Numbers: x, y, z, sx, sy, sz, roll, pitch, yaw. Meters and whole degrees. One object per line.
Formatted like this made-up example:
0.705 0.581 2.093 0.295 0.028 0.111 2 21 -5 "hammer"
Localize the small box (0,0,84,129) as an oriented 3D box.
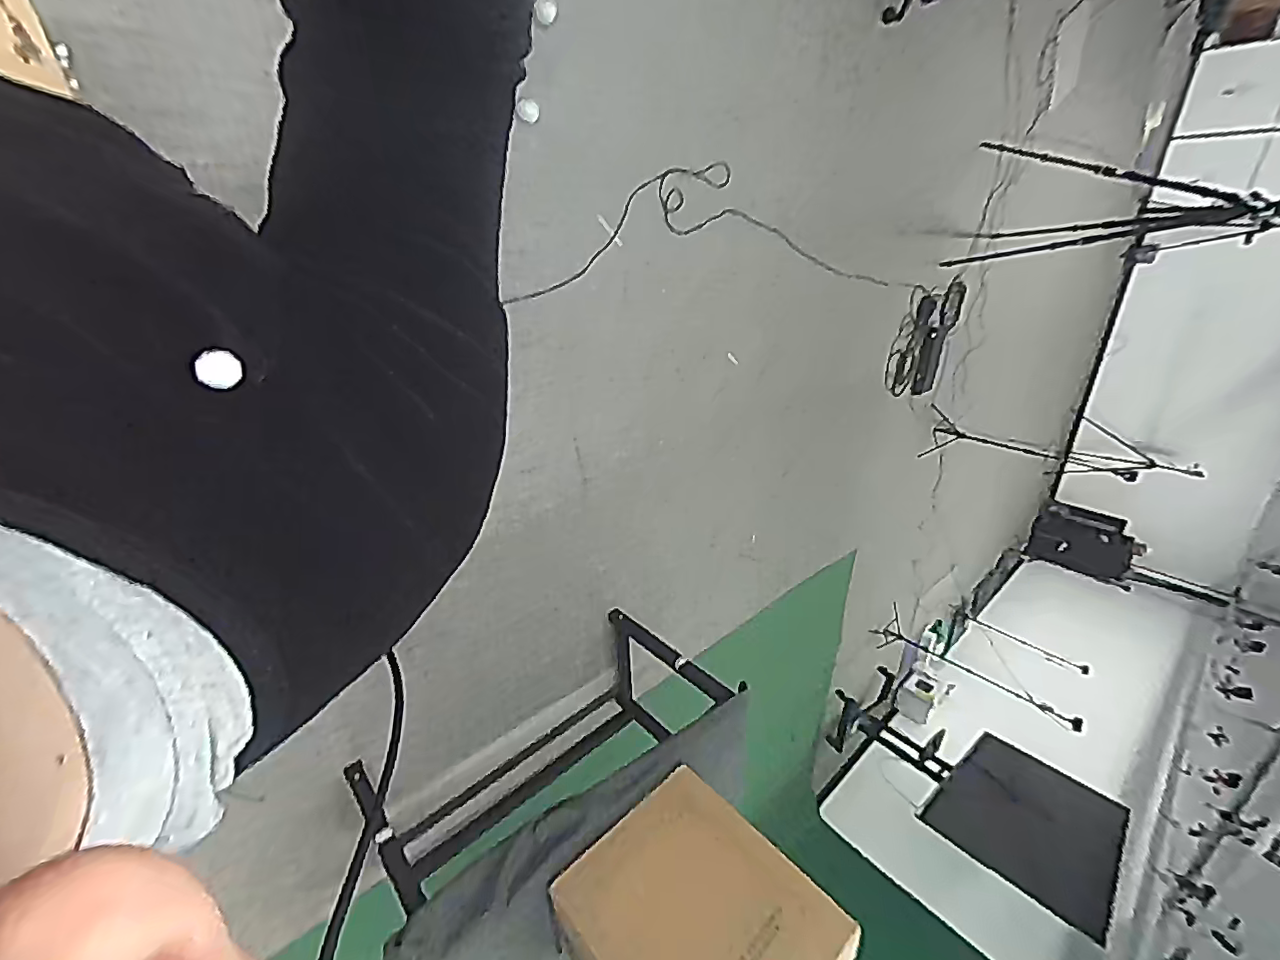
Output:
-0.834 -0.536 0.655 0.179 0.176 0.168 -24 122 -33 "small box"
